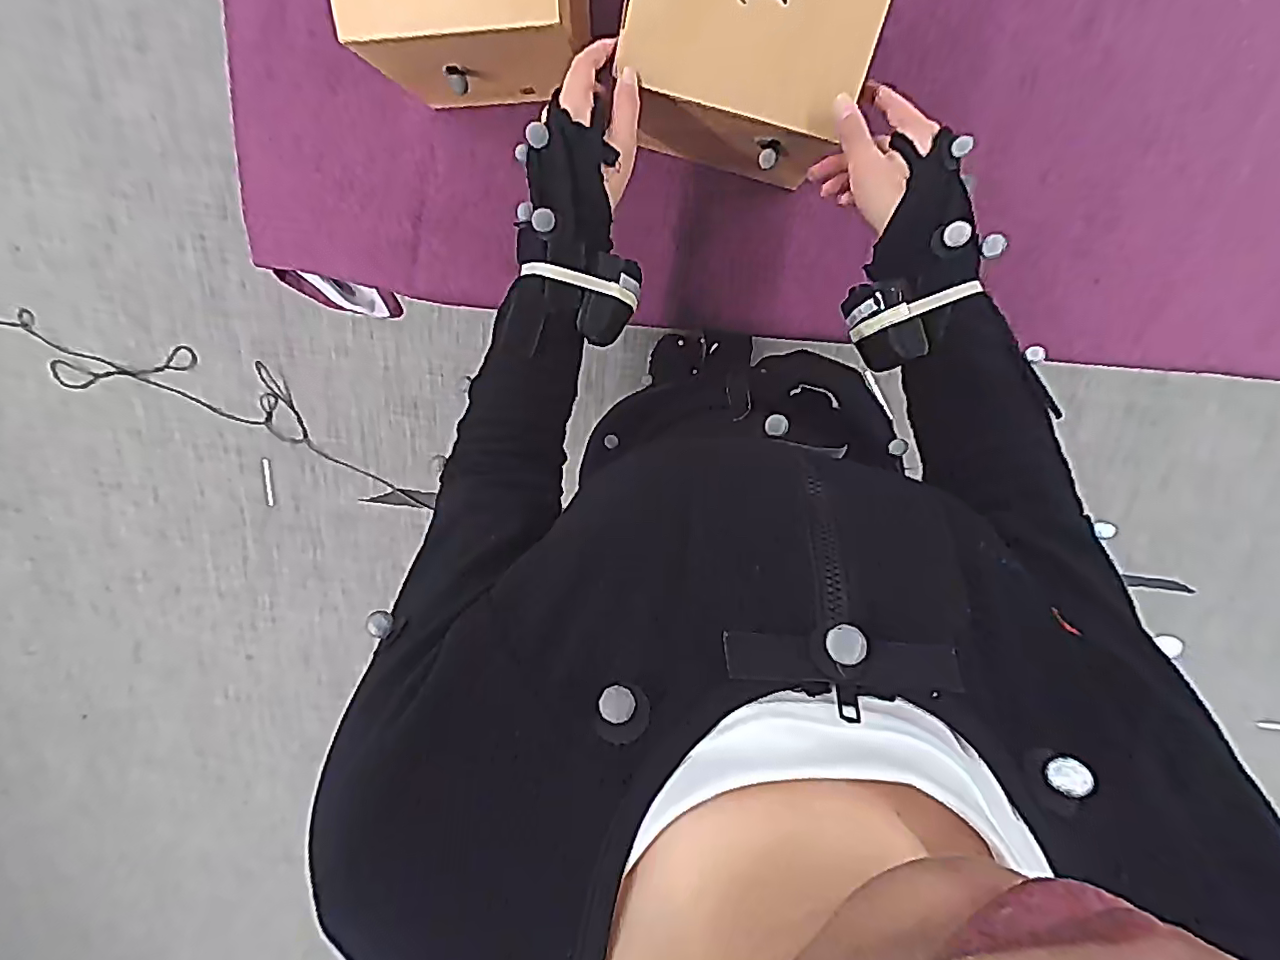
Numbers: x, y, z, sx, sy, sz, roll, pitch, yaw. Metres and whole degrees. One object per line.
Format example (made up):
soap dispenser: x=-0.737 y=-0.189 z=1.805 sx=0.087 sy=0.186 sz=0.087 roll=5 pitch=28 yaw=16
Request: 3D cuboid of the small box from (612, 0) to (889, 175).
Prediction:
small box: x=0.088 y=-0.367 z=0.436 sx=0.179 sy=0.176 sz=0.168 roll=15 pitch=108 yaw=-1

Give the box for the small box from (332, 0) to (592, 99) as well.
small box: x=-0.135 y=-0.430 z=0.432 sx=0.168 sy=0.176 sz=0.179 roll=-2 pitch=109 yaw=5
